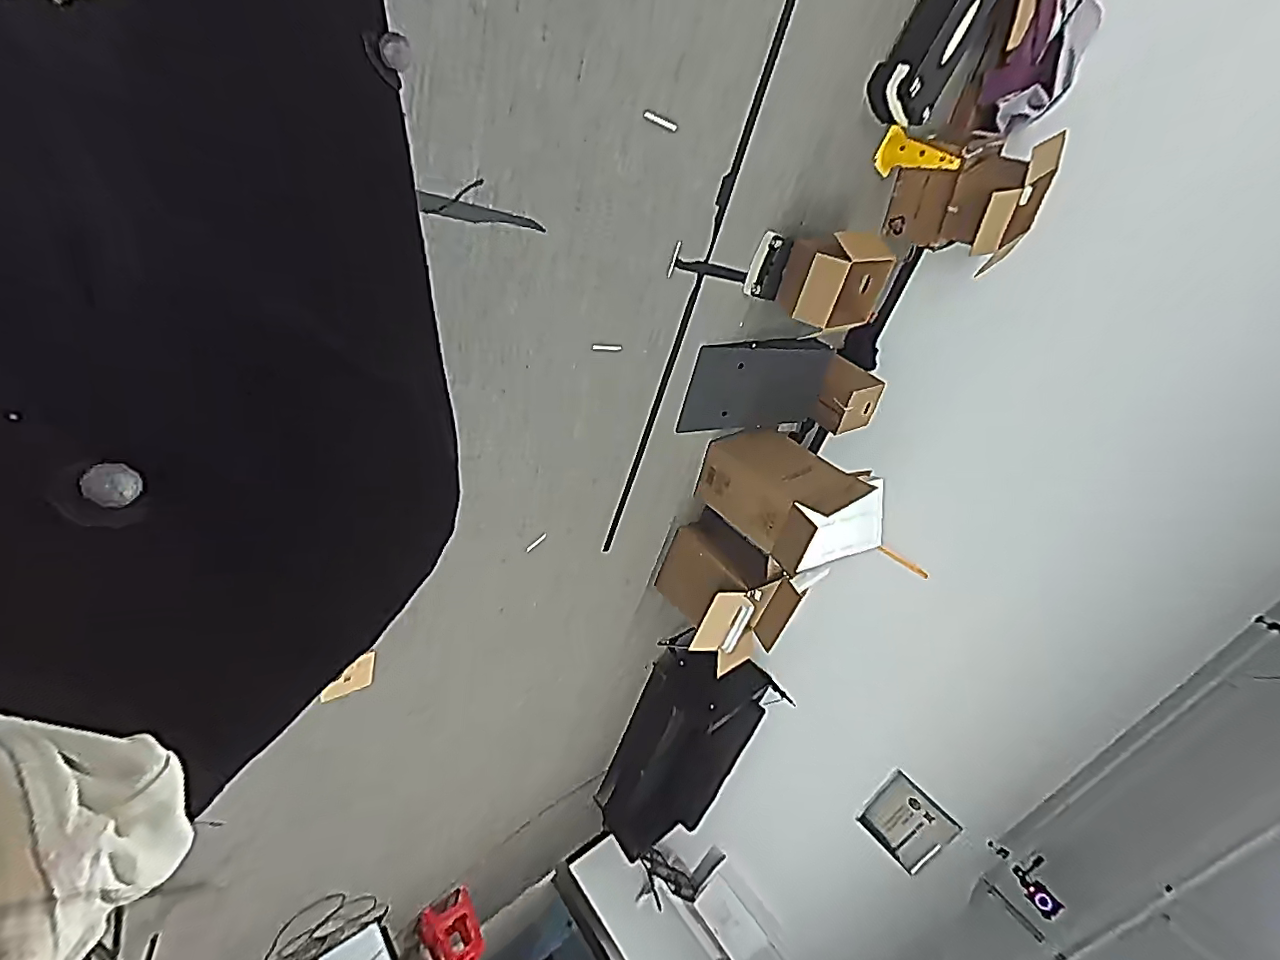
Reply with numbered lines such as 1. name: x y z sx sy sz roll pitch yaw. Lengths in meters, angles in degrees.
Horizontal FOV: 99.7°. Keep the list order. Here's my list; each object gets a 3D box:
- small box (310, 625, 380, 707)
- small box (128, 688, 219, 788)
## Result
1. small box: -1.019 0.635 1.862 0.168 0.176 0.179 -11 129 -46
2. small box: -1.351 0.735 1.568 0.168 0.176 0.179 -15 134 -42
